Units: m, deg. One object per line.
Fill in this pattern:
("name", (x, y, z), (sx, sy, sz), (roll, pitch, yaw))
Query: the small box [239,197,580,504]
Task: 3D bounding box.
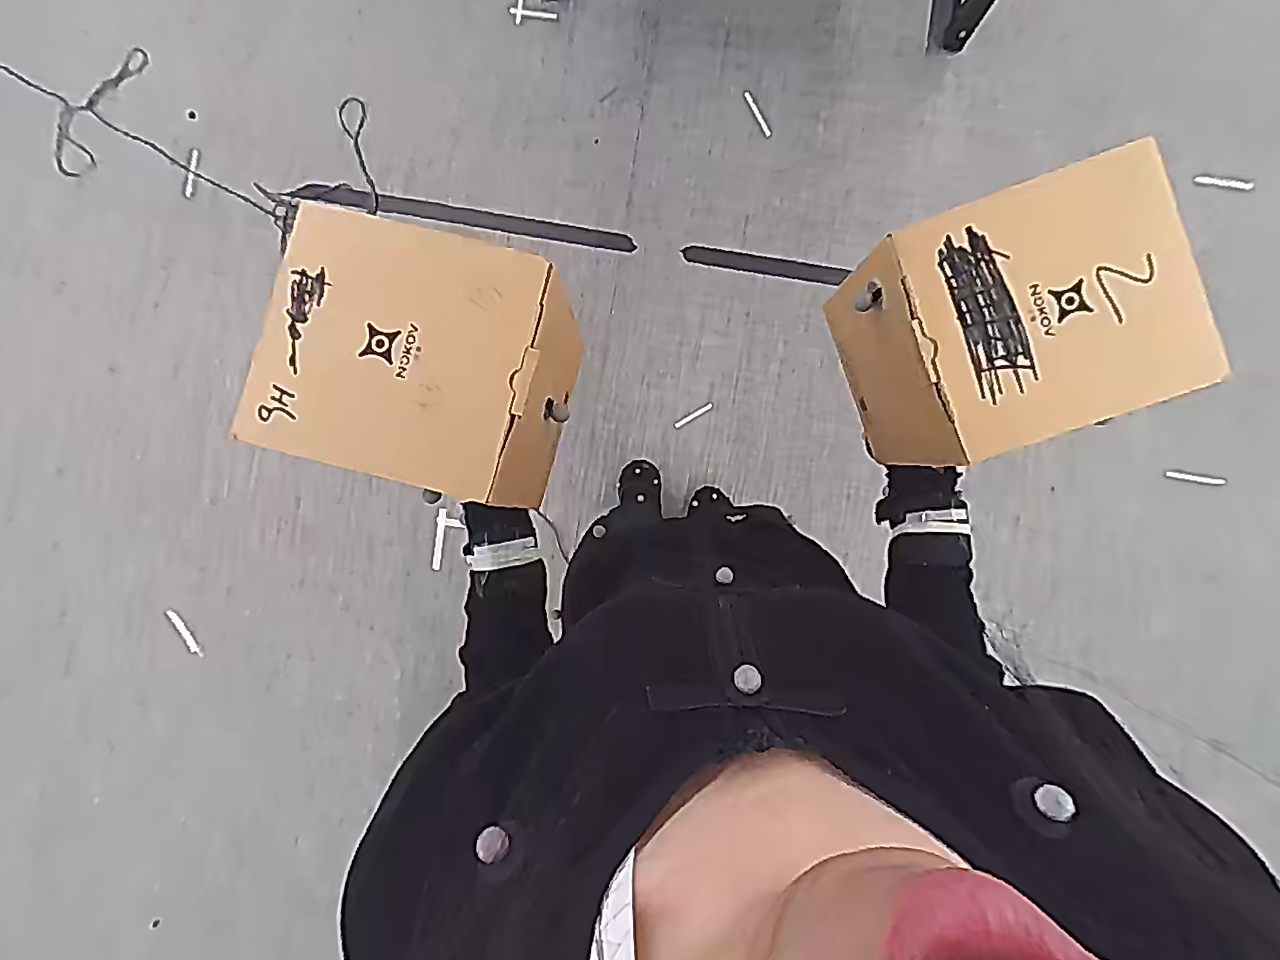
("small box", (-0.153, -0.082, 0.428), (0.179, 0.176, 0.168), (15, 86, 1))
